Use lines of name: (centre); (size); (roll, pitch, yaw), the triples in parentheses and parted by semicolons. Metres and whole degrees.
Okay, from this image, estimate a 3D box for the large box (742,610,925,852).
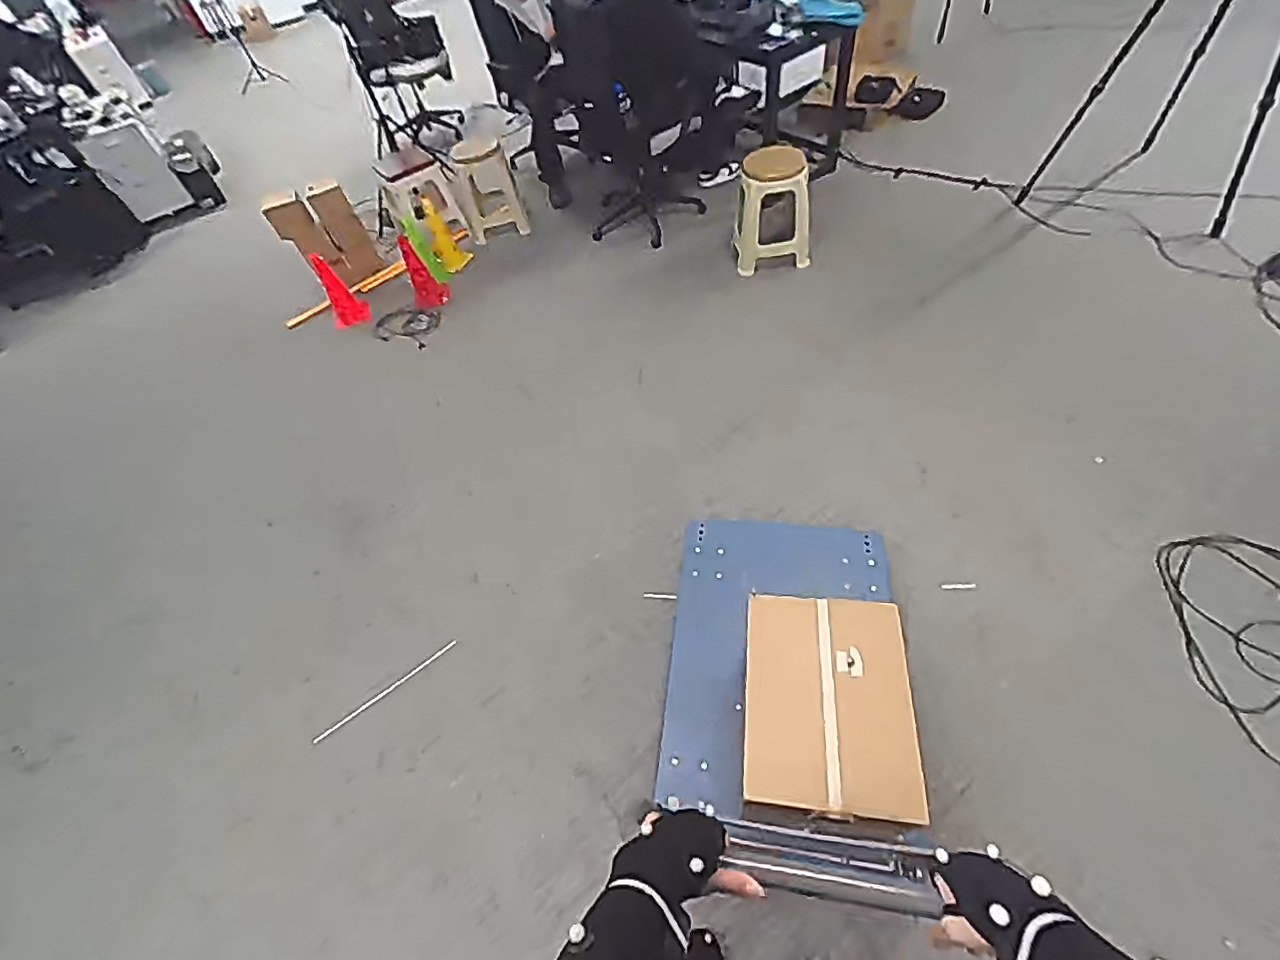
large box: (0.386, 0.545, 1.184); (0.320, 0.320, 0.408); (2, 52, 11)
